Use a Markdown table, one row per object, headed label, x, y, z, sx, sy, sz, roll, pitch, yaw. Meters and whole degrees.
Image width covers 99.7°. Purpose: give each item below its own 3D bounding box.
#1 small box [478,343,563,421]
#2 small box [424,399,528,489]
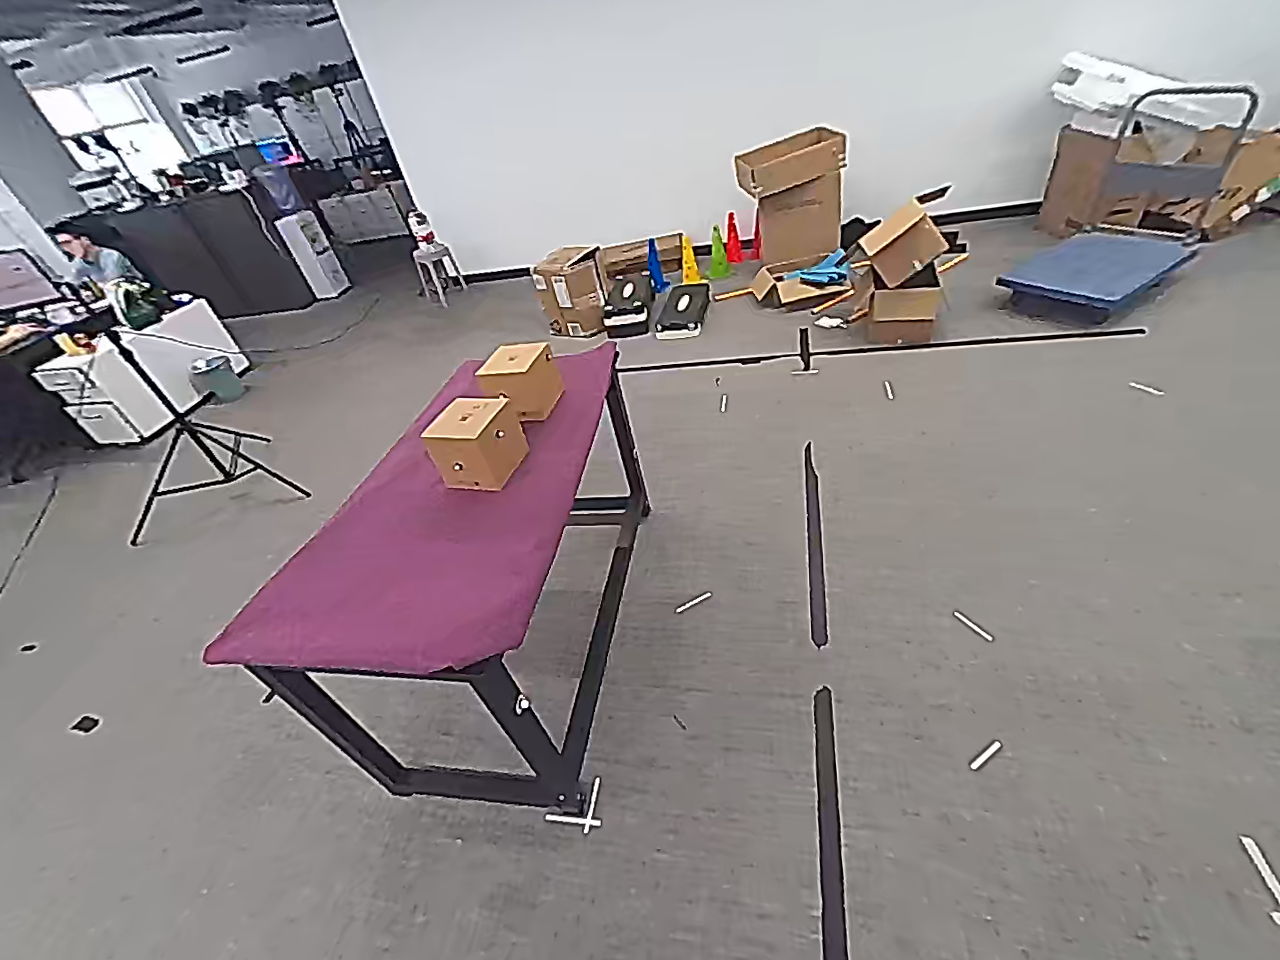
| label | x | y | z | sx | sy | sz | roll | pitch | yaw |
| --- | --- | --- | --- | --- | --- | --- | --- | --- | --- |
| small box | -0.346 | -0.286 | 1.613 | 0.168 | 0.176 | 0.179 | 0 | 40 | 18 |
| small box | -0.412 | -0.093 | 1.394 | 0.168 | 0.176 | 0.179 | 4 | 41 | 20 |
